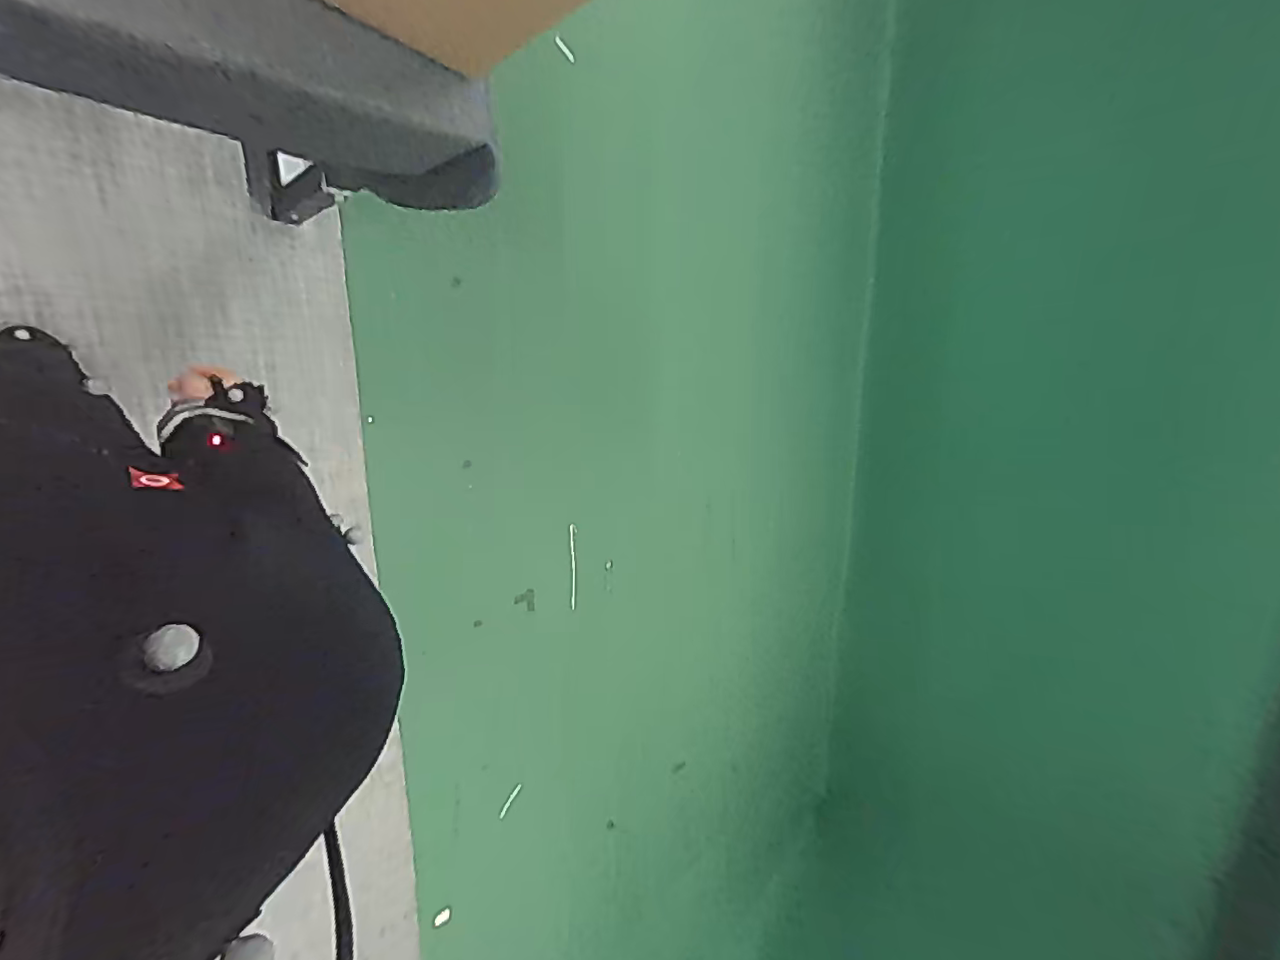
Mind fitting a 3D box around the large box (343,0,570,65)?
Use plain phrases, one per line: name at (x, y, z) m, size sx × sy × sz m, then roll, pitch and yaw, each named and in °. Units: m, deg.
large box at (-0.225, -0.623, 0.409) m, size 0.408 × 0.320 × 0.320 m, roll -7°, pitch 104°, yaw -48°
